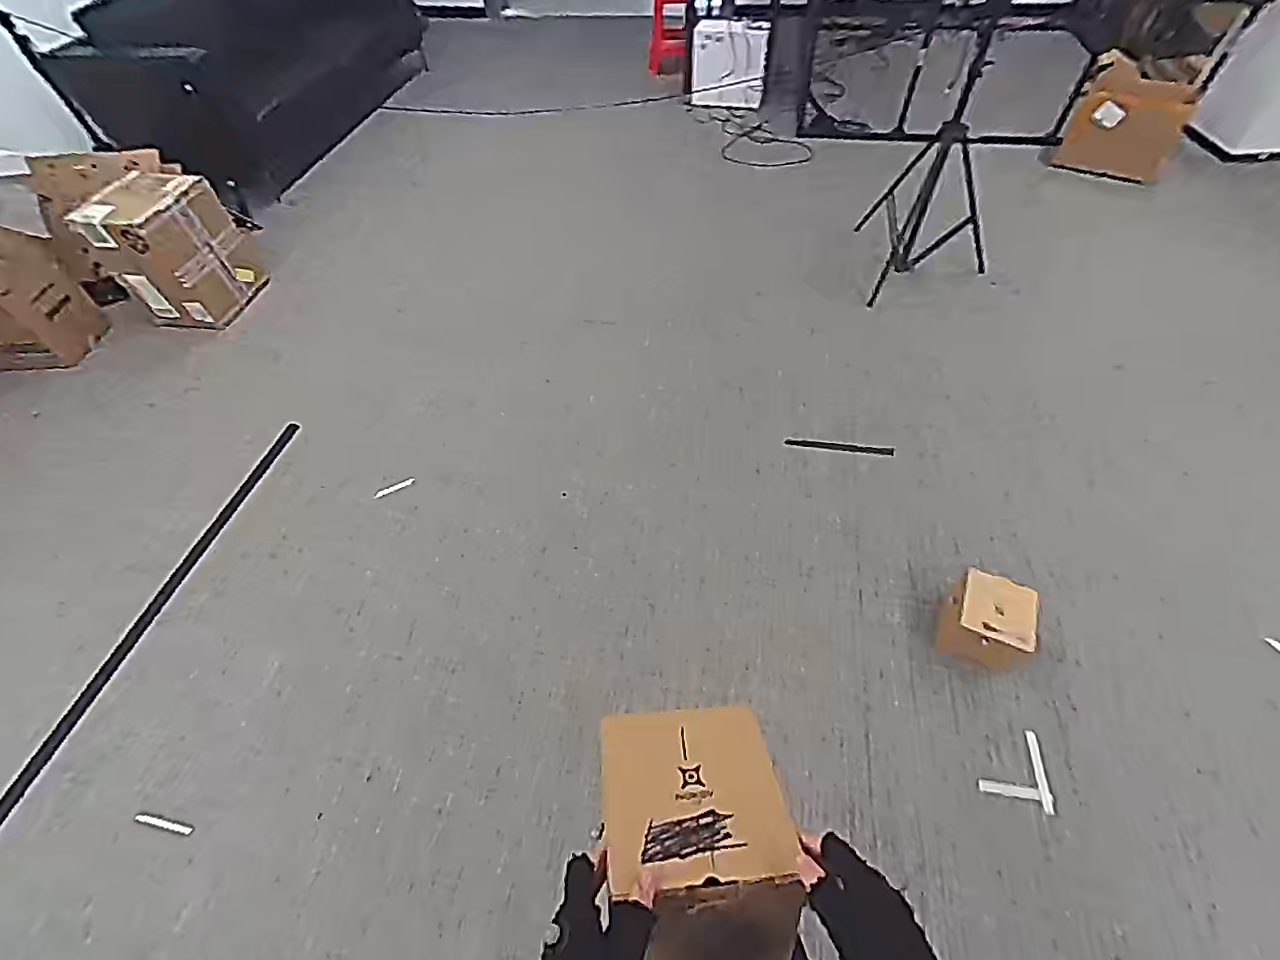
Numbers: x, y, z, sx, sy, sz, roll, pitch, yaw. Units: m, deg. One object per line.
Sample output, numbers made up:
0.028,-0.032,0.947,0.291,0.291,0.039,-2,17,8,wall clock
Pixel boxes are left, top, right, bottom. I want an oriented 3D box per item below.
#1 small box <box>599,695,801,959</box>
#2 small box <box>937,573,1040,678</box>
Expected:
0.046,0.350,0.545,0.168,0.176,0.179,-2,25,-6,small box
0.896,0.379,1.399,0.168,0.176,0.179,21,57,18,small box
